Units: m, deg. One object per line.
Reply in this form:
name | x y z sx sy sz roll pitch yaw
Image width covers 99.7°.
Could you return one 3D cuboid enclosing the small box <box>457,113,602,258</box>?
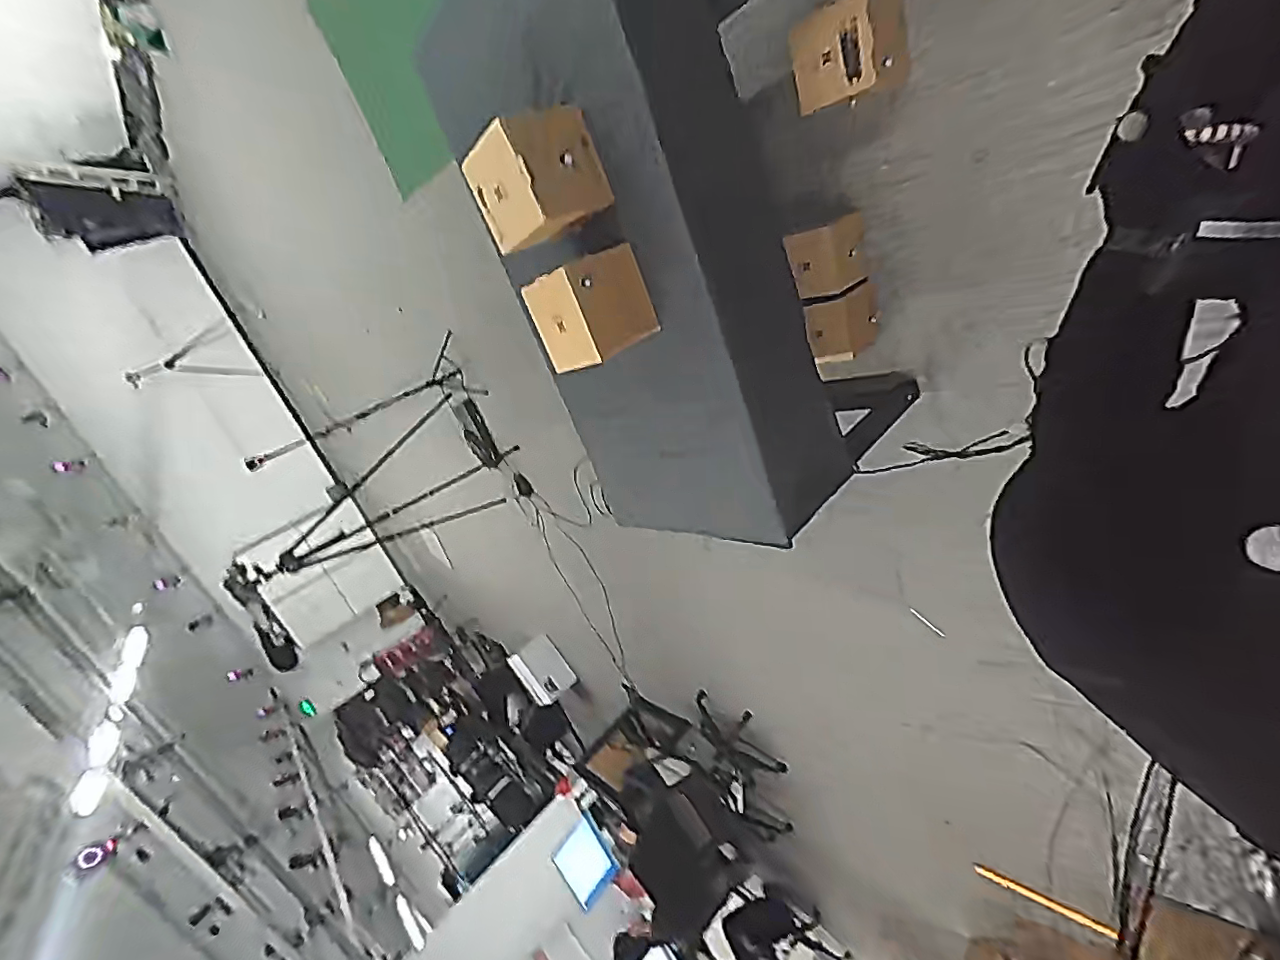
small box | -0.190 -0.528 0.973 0.179 0.176 0.168 -1 118 51
